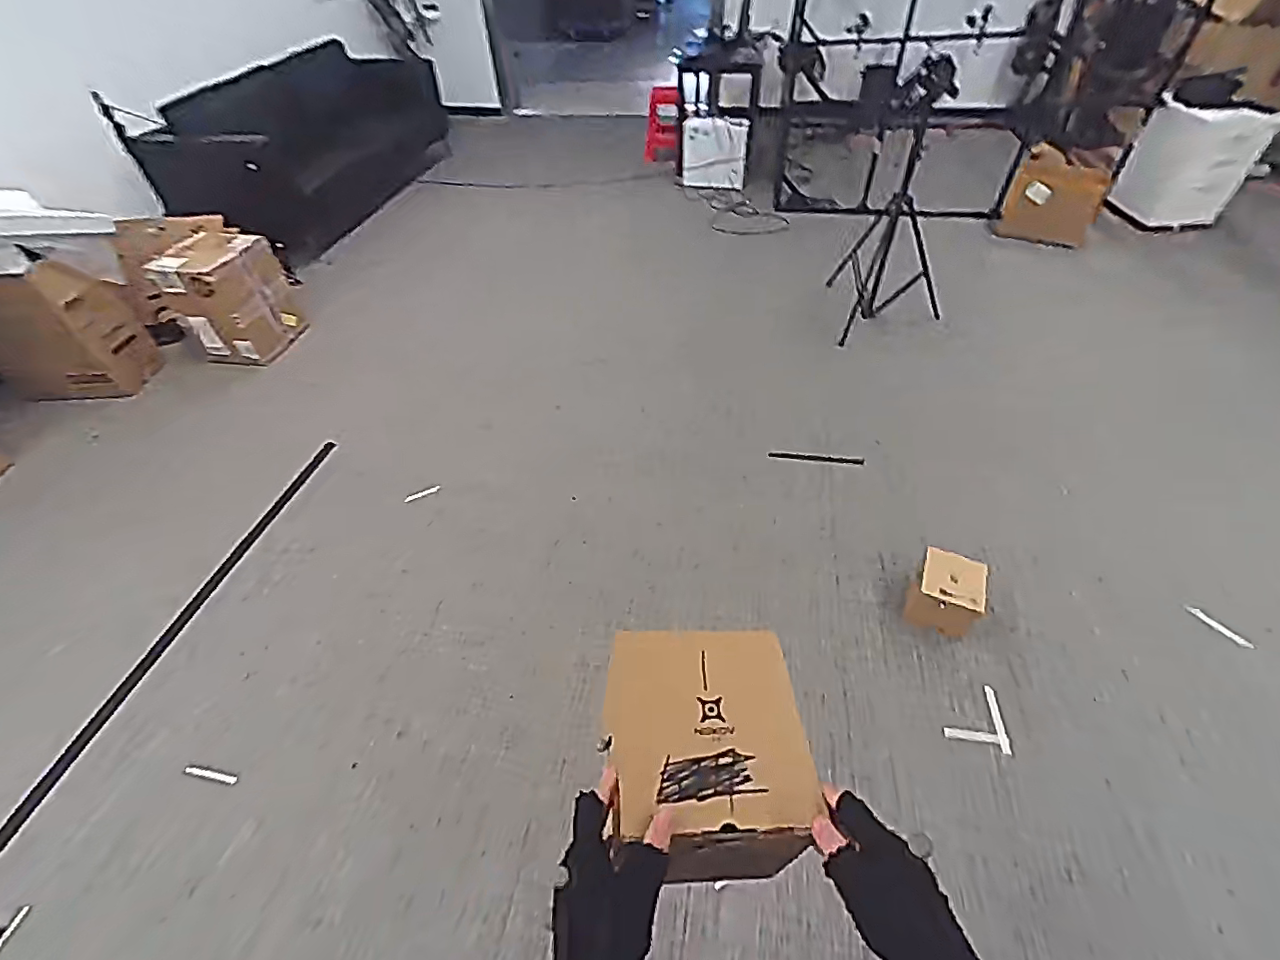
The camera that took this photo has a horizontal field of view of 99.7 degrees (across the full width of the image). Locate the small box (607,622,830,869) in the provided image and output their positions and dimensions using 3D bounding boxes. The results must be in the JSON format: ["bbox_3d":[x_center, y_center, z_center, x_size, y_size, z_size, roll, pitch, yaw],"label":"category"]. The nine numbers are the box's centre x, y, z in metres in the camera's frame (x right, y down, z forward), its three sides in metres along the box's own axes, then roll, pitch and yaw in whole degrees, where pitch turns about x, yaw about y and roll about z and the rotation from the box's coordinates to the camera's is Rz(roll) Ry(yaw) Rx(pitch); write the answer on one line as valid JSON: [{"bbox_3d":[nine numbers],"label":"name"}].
[{"bbox_3d":[0.057,0.261,0.528,0.168,0.176,0.179,3,42,-7],"label":"small box"}]

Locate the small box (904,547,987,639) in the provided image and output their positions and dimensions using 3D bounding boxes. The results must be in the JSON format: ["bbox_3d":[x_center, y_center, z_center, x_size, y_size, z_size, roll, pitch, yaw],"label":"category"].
[{"bbox_3d":[0.902,0.338,1.606,0.168,0.176,0.179,18,50,19],"label":"small box"}]
